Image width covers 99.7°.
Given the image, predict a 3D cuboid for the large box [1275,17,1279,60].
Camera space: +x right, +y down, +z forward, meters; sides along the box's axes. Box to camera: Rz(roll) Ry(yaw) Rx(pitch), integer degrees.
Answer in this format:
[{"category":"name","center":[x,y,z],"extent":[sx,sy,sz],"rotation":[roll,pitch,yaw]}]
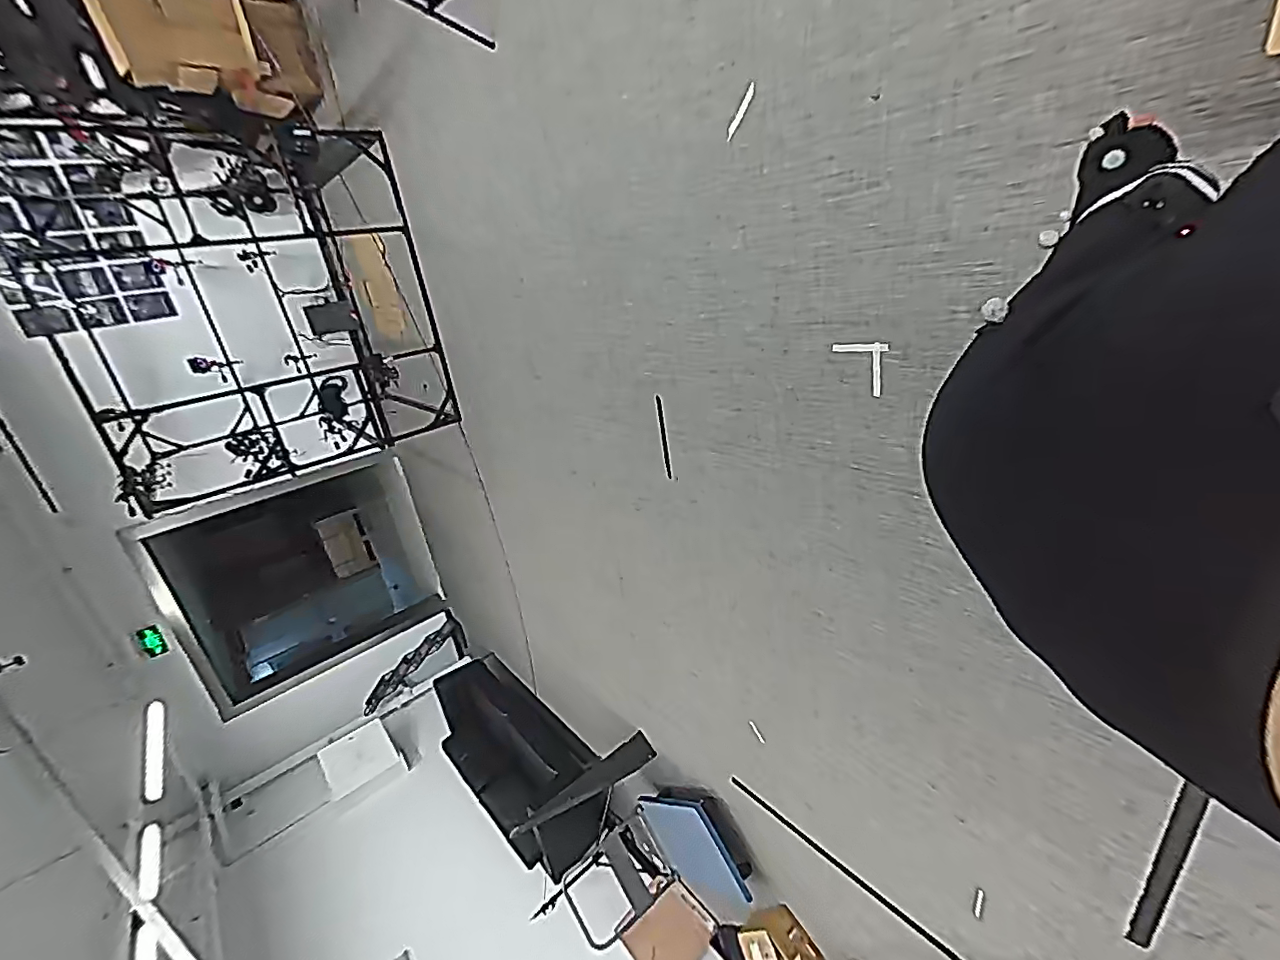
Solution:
[{"category":"large box","center":[1.037,-0.708,0.589],"extent":[0.408,0.320,0.320],"rotation":[17,123,47]}]
